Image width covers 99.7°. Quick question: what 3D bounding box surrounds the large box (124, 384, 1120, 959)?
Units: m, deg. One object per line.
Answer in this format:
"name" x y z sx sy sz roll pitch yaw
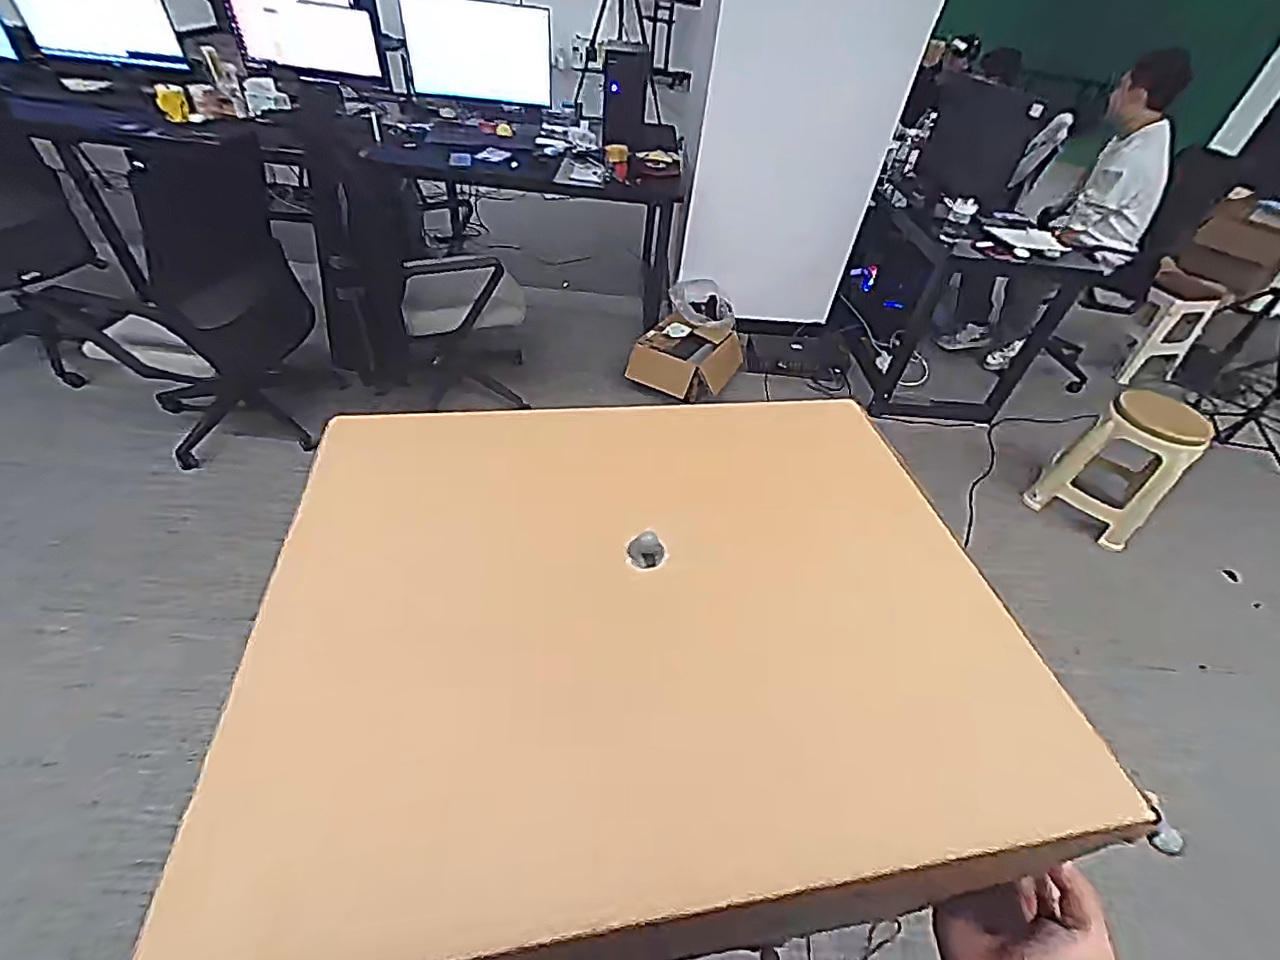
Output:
"large box" -0.017 0.148 0.414 0.408 0.320 0.320 -5 47 -10
